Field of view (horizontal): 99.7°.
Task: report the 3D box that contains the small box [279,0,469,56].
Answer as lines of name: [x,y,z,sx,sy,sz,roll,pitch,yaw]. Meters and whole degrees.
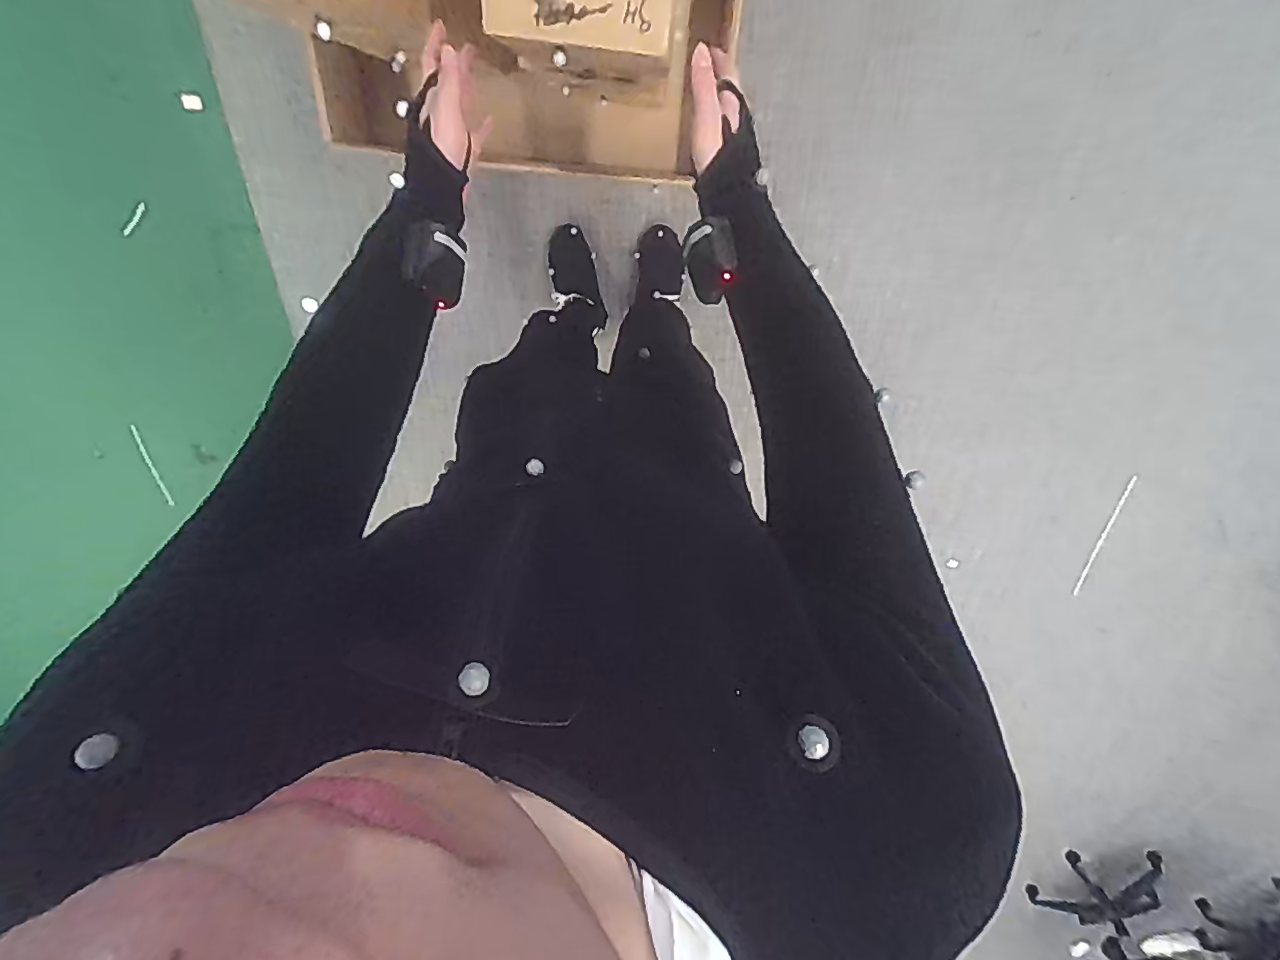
small box: [-0.309,-0.619,0.622,0.168,0.176,0.179,6,121,1]

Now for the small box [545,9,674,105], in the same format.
small box: [-0.039,-0.659,0.775,0.168,0.176,0.179,7,121,0]

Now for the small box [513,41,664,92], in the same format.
small box: [-0.048,-0.575,0.633,0.168,0.176,0.179,7,121,-1]

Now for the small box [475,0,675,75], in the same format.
small box: [-0.046,-0.496,0.490,0.168,0.176,0.179,7,121,0]
